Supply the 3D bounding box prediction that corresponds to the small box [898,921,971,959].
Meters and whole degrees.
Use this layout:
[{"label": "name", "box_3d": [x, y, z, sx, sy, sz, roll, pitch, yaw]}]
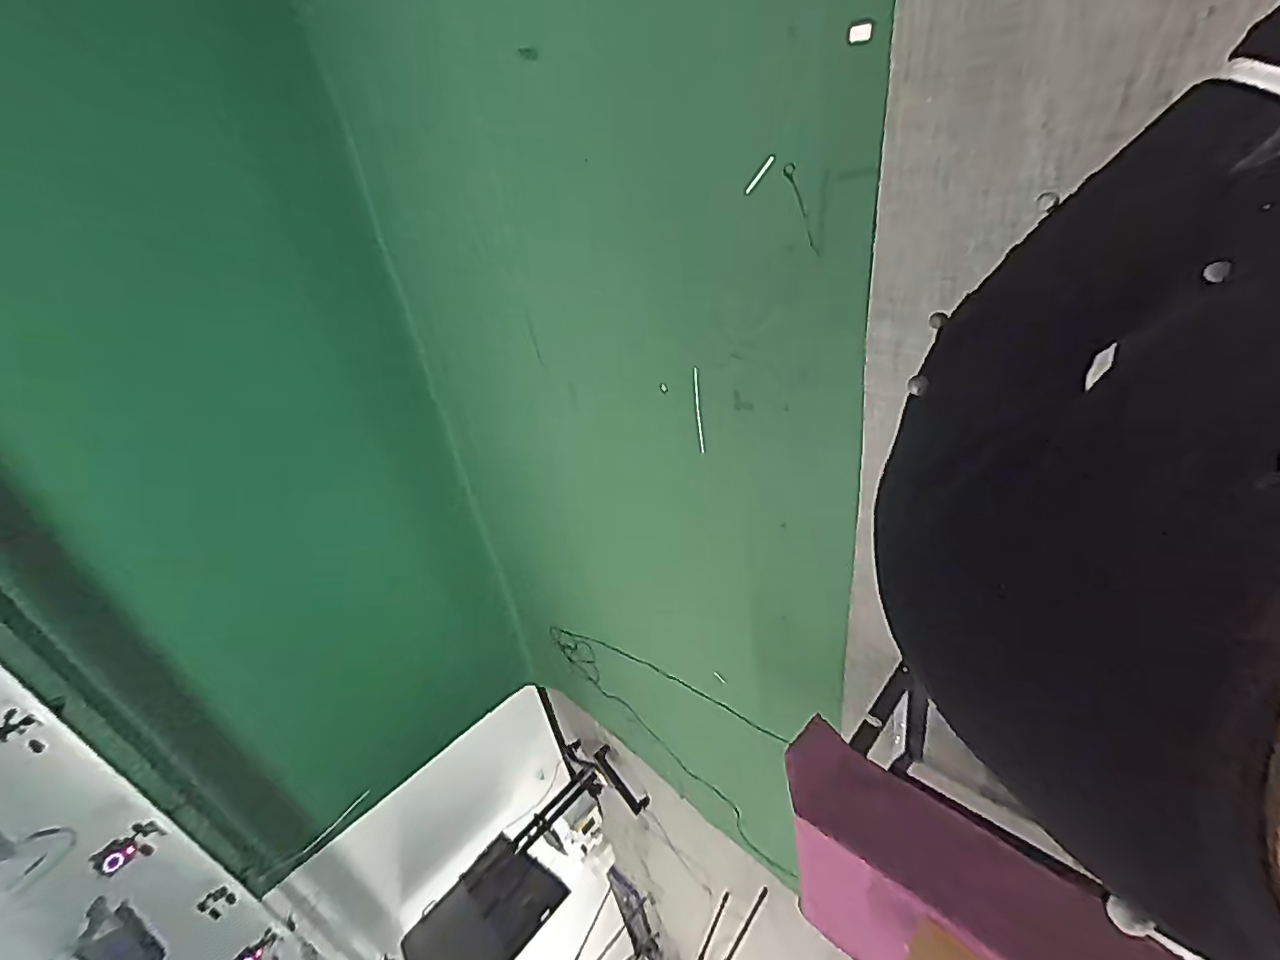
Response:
[{"label": "small box", "box_3d": [0.687, 1.185, 1.246, 0.179, 0.176, 0.168, 20, 130, 41]}]
